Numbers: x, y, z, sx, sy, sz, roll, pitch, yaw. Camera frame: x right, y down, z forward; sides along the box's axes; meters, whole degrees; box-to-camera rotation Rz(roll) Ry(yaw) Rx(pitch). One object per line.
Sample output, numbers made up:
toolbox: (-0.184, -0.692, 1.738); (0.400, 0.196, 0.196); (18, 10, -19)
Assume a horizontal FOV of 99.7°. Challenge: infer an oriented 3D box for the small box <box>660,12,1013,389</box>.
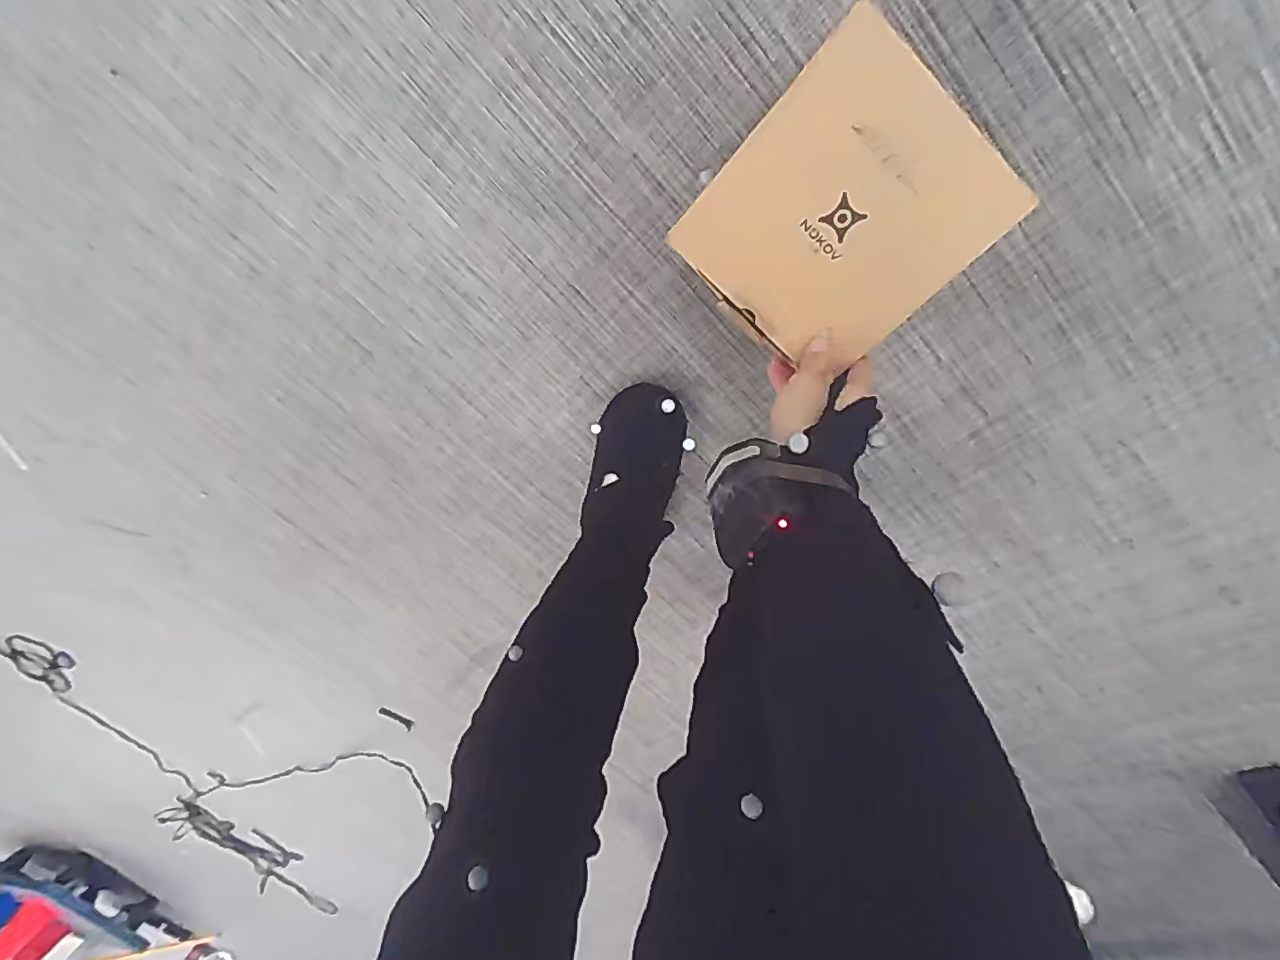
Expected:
small box: (0.145, -0.210, 0.442); (0.168, 0.176, 0.179); (40, 119, -10)
